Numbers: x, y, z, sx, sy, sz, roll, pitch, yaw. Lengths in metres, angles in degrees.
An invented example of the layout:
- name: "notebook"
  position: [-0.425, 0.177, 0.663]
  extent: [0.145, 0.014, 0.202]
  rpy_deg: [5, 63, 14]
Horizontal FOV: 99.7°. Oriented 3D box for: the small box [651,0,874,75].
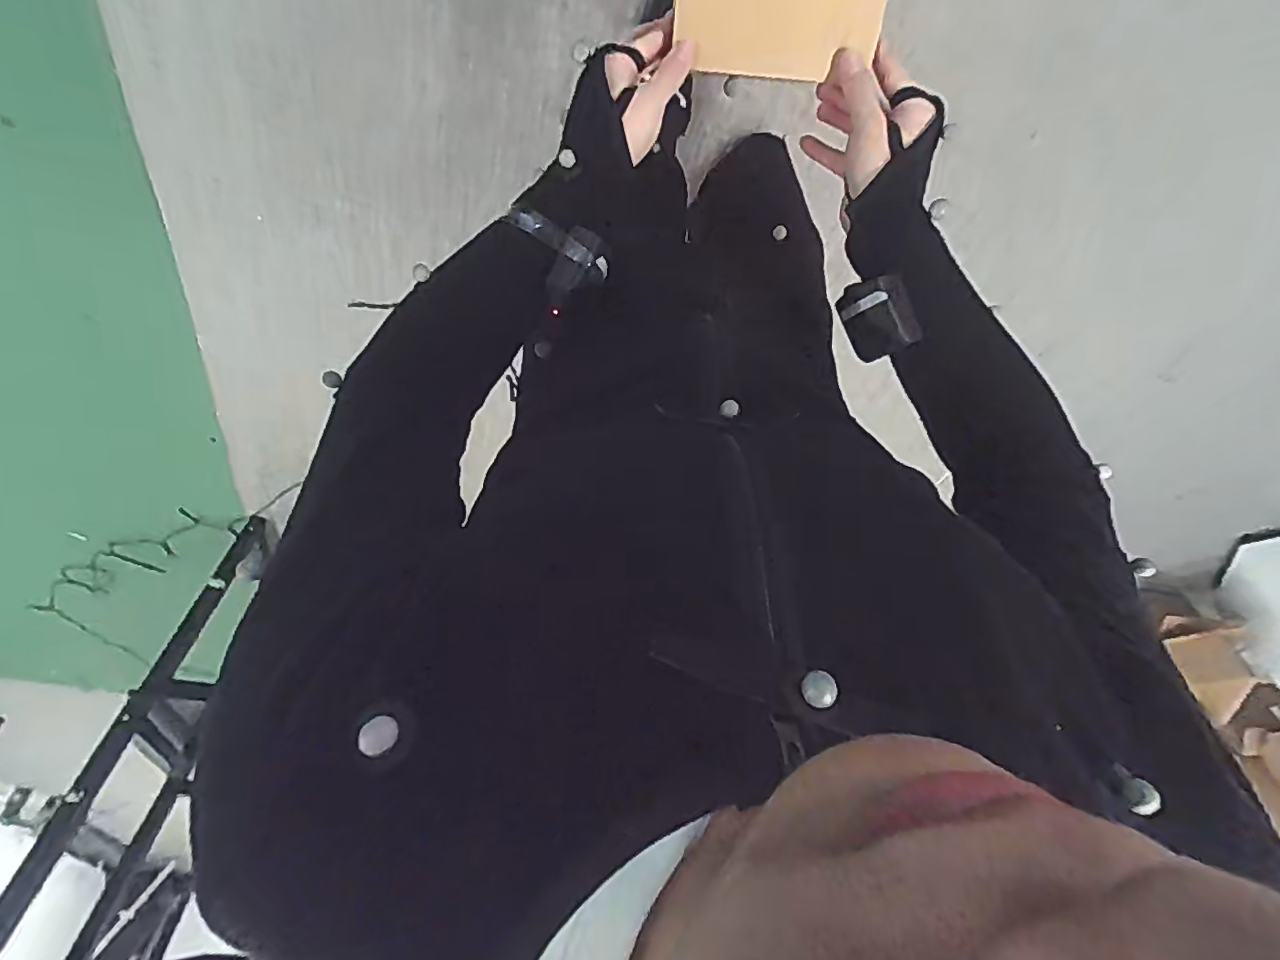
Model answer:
- name: "small box"
  position: [0.103, -0.446, 0.439]
  extent: [0.168, 0.176, 0.179]
  rpy_deg: [6, 126, -1]
